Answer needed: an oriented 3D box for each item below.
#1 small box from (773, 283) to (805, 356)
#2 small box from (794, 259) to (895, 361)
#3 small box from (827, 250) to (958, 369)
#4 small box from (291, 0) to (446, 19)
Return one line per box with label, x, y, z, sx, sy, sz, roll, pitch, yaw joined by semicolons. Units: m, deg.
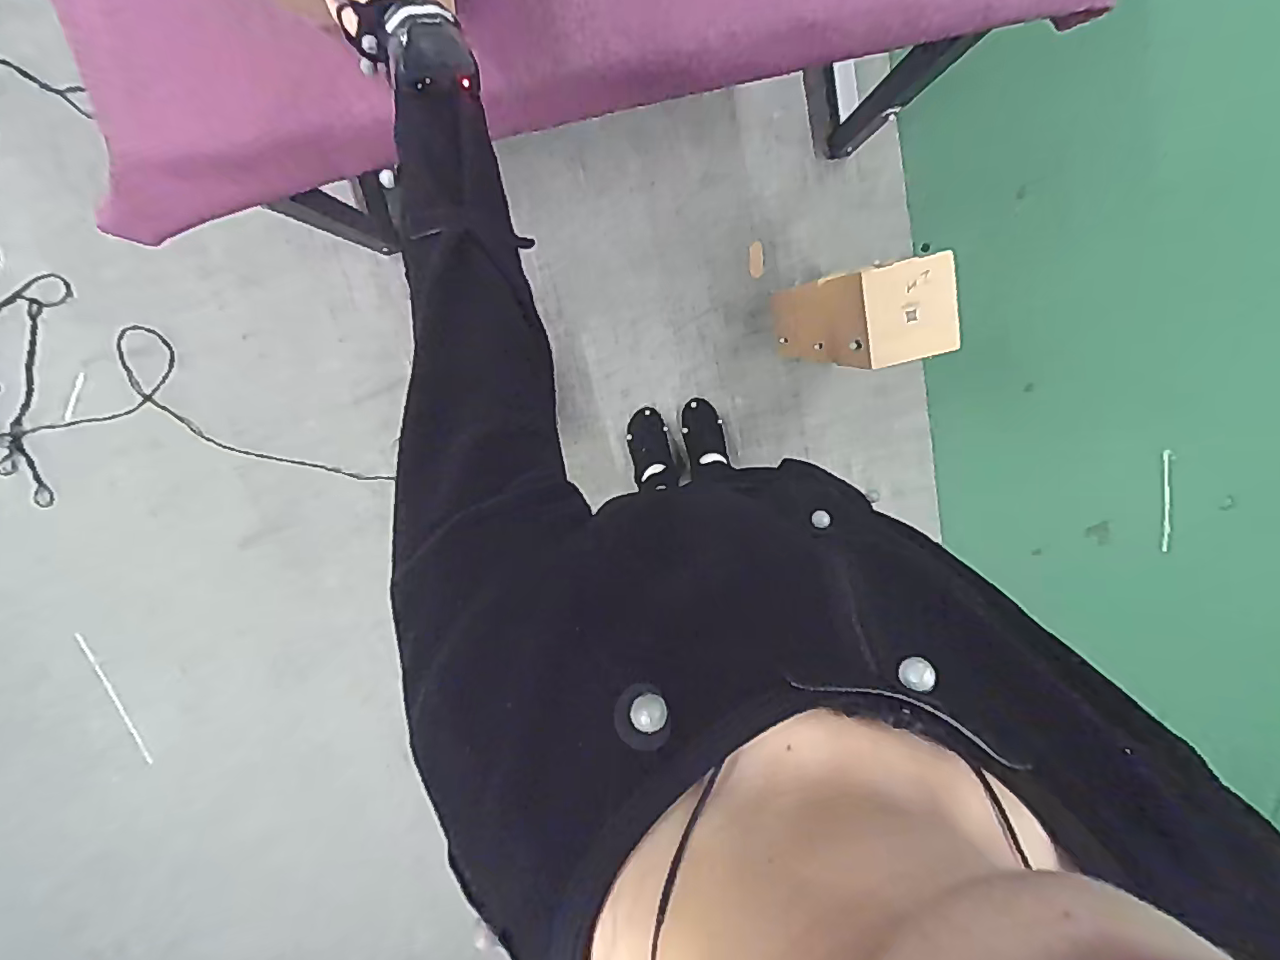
small box;0.440;-0.405;1.344;0.179;0.176;0.168;-11;104;0
small box;0.451;-0.366;1.188;0.168;0.176;0.179;-14;105;1
small box;0.473;-0.320;1.030;0.168;0.176;0.179;-13;105;1
small box;-0.303;-0.577;0.514;0.179;0.176;0.168;1;109;7
